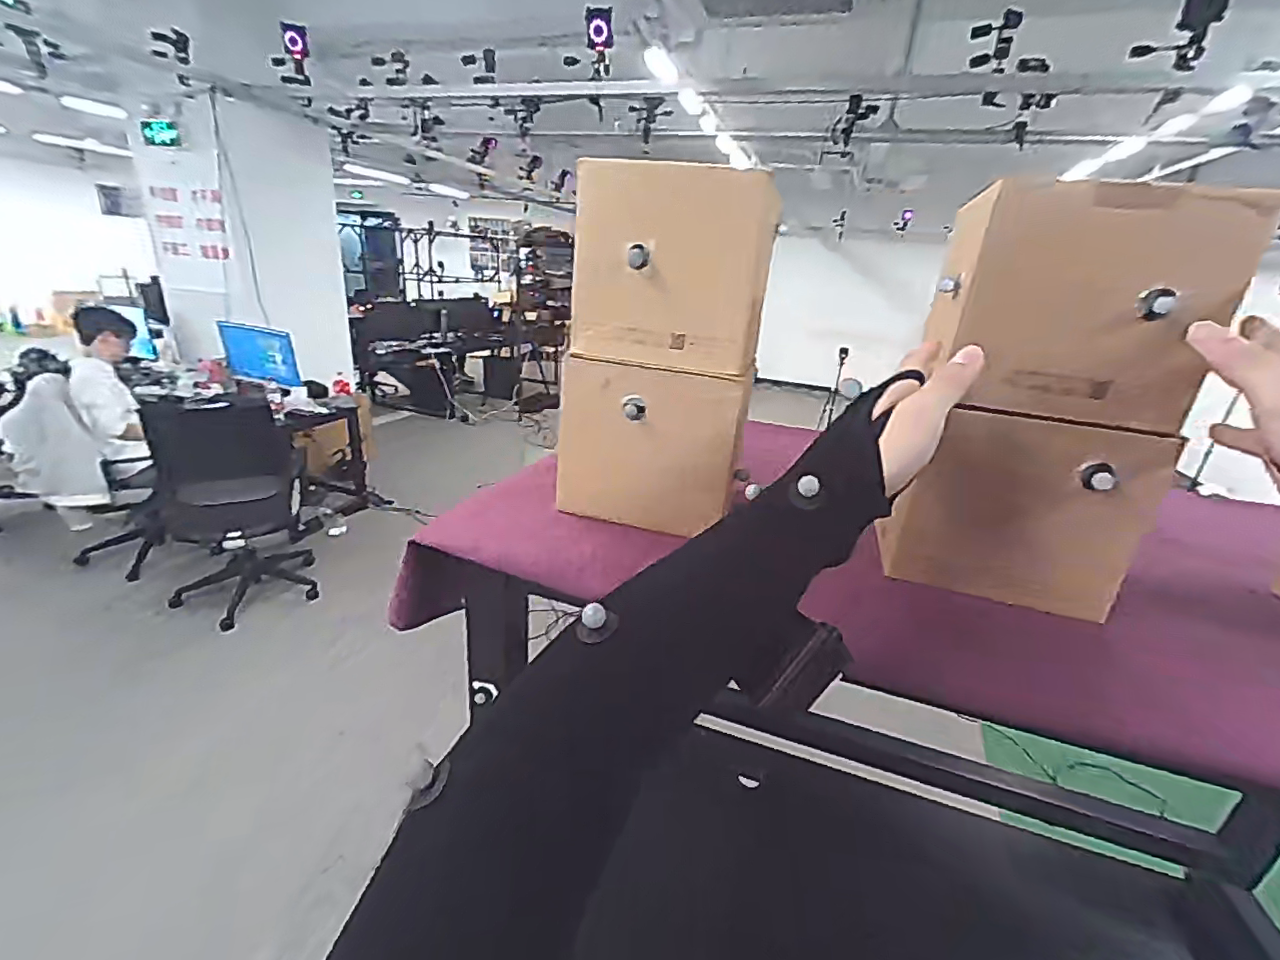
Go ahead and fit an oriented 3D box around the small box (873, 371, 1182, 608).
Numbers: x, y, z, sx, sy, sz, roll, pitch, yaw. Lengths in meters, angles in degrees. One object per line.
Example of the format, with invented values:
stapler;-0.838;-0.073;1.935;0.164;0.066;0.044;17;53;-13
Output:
small box;0.338;0.000;0.518;0.179;0.176;0.168;10;22;17

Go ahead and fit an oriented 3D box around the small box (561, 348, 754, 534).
small box;0.021;-0.055;0.599;0.179;0.176;0.168;11;22;13

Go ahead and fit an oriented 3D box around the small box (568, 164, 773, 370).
small box;0.036;-0.208;0.547;0.168;0.176;0.179;10;21;13

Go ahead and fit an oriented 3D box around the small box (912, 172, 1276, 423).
small box;0.348;-0.154;0.464;0.168;0.176;0.179;12;22;17
